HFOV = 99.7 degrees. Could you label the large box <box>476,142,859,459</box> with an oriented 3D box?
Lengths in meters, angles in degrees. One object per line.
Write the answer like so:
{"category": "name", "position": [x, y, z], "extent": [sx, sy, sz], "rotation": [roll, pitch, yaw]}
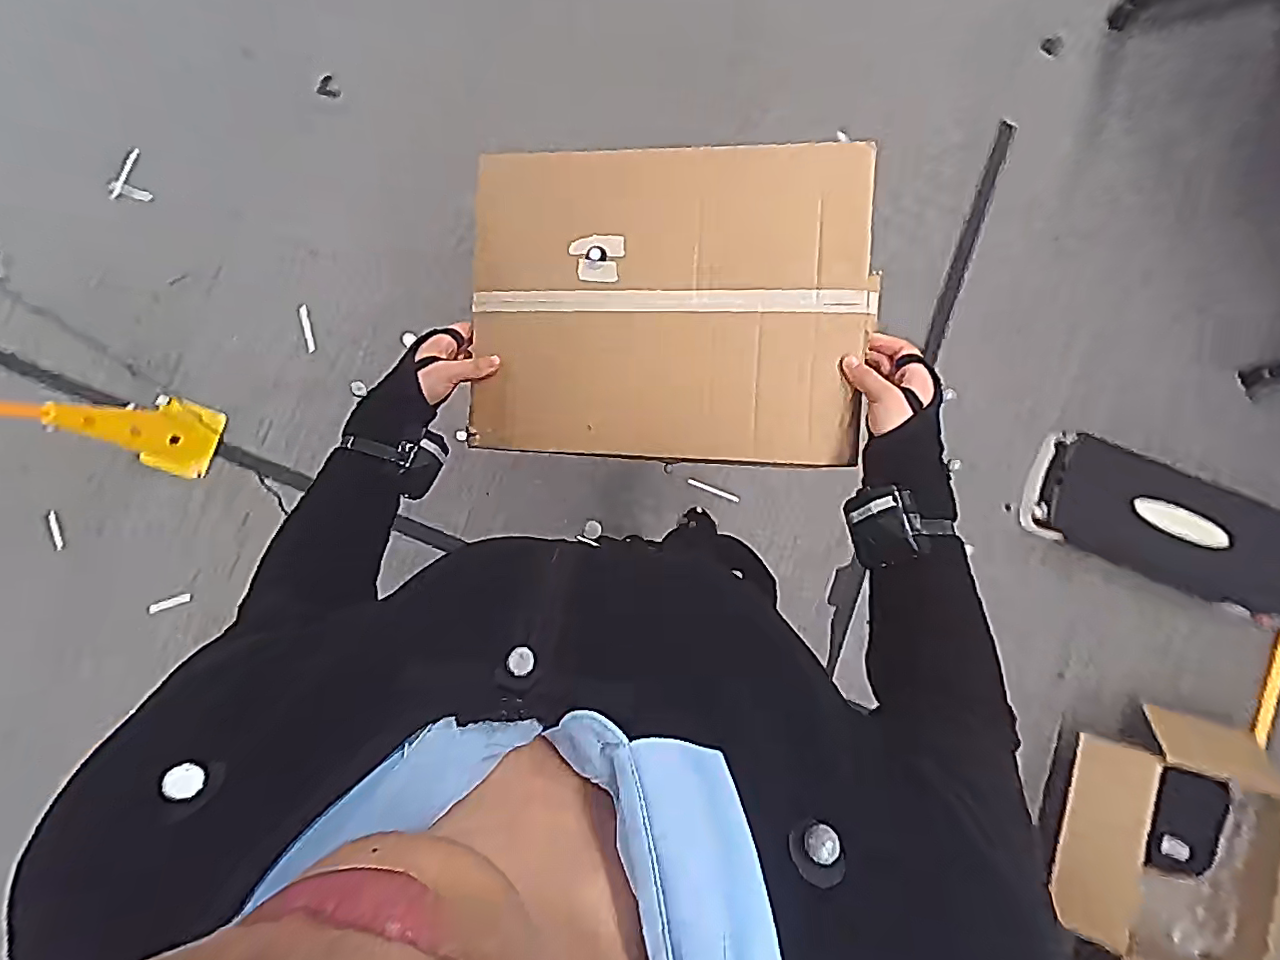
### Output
{"category": "large box", "position": [0.044, -0.184, 0.709], "extent": [0.408, 0.320, 0.320], "rotation": [2, 90, 10]}
